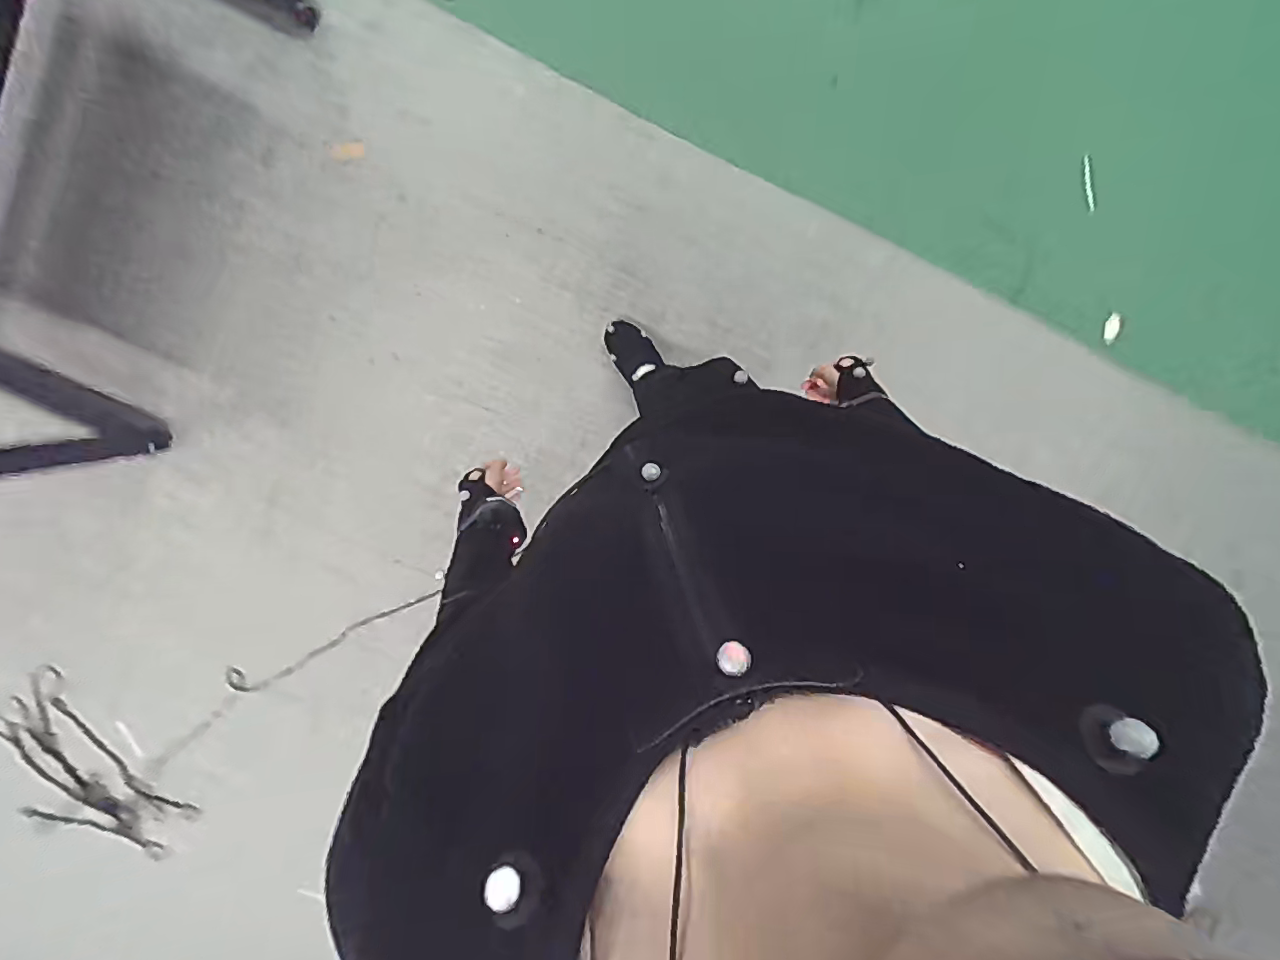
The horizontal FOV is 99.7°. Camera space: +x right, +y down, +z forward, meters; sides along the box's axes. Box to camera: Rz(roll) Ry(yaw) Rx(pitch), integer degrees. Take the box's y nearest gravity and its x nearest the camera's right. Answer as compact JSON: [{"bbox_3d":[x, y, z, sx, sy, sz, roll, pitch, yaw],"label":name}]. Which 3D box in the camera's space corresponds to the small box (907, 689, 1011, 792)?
[{"bbox_3d":[0.887,0.730,1.540,0.179,0.176,0.168,39,98,-8],"label":"small box"}]
